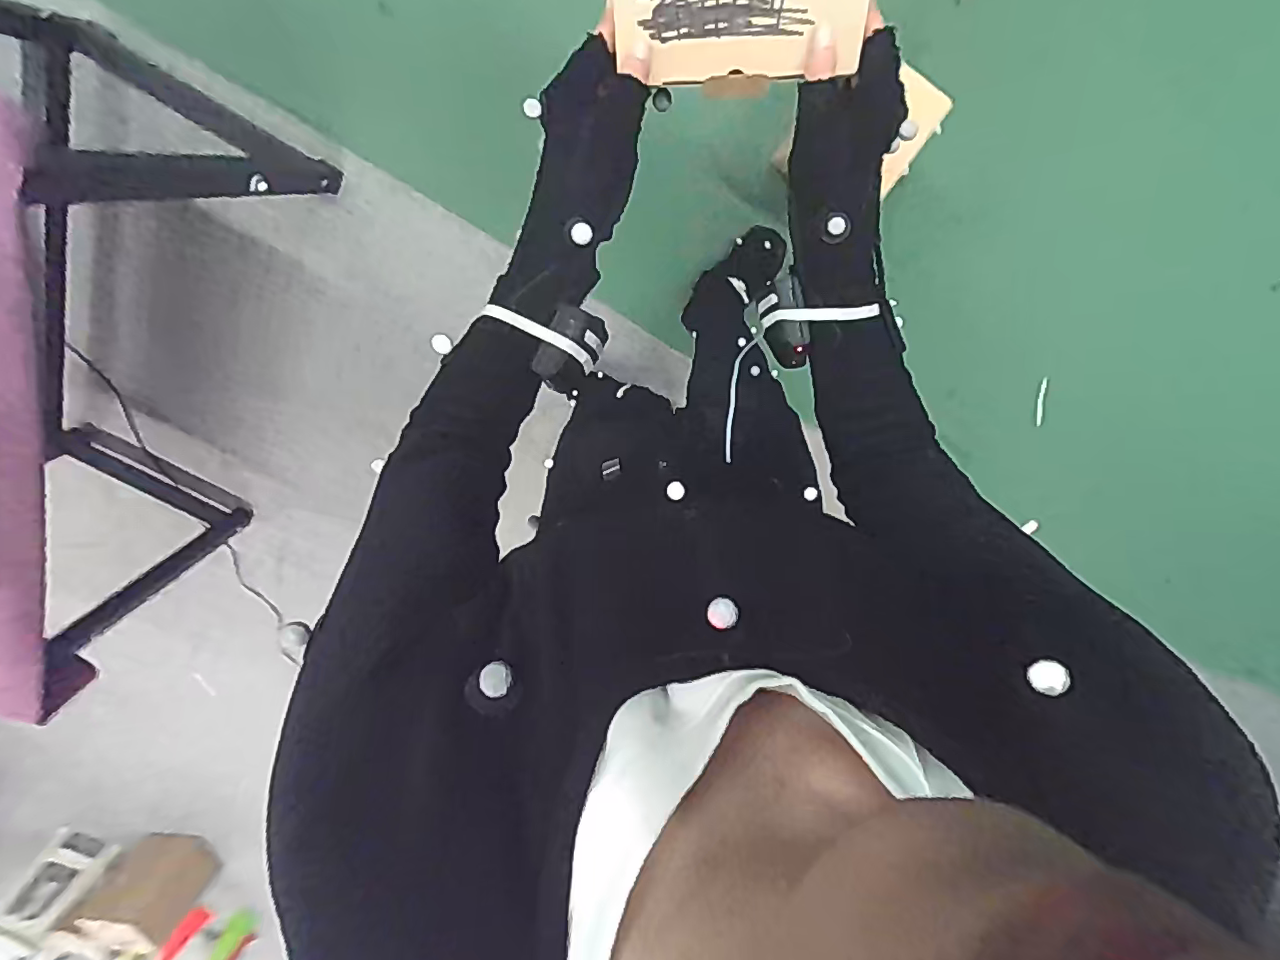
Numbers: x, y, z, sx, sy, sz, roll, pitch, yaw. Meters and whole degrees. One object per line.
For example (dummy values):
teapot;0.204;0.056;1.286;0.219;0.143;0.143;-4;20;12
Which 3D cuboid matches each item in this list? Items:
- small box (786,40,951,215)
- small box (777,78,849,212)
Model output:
small box;0.363;-0.573;0.901;0.168;0.176;0.179;30;118;-10
small box;0.382;-0.649;1.044;0.168;0.176;0.179;32;118;-10
